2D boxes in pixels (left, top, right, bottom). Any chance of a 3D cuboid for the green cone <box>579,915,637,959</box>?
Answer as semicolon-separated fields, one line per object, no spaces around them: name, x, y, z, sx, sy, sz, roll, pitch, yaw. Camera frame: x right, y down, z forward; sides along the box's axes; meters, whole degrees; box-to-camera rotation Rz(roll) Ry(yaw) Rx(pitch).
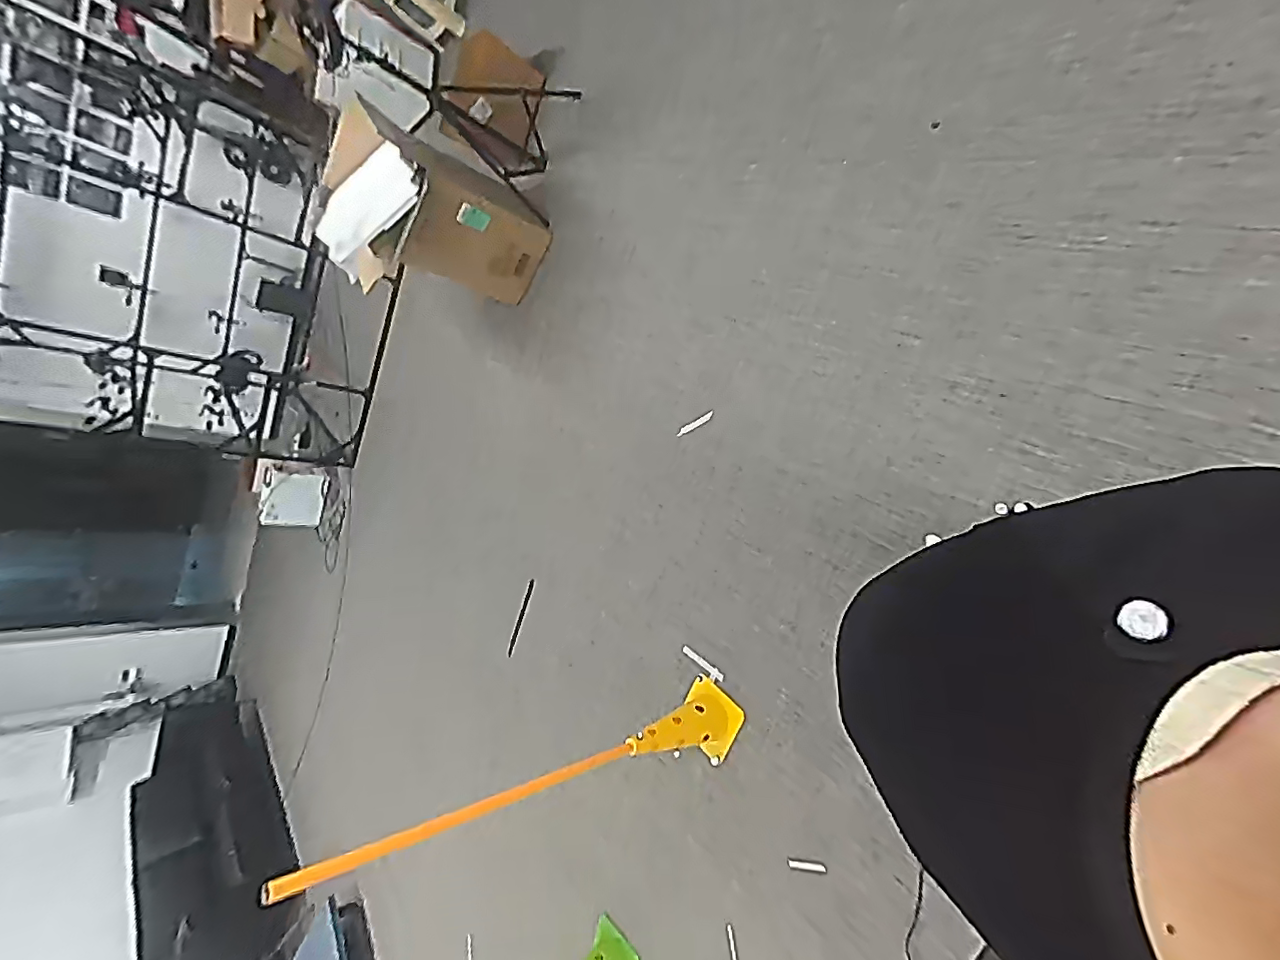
green cone;-0.212;1.625;1.730;0.200;0.368;0.202;18;95;44
